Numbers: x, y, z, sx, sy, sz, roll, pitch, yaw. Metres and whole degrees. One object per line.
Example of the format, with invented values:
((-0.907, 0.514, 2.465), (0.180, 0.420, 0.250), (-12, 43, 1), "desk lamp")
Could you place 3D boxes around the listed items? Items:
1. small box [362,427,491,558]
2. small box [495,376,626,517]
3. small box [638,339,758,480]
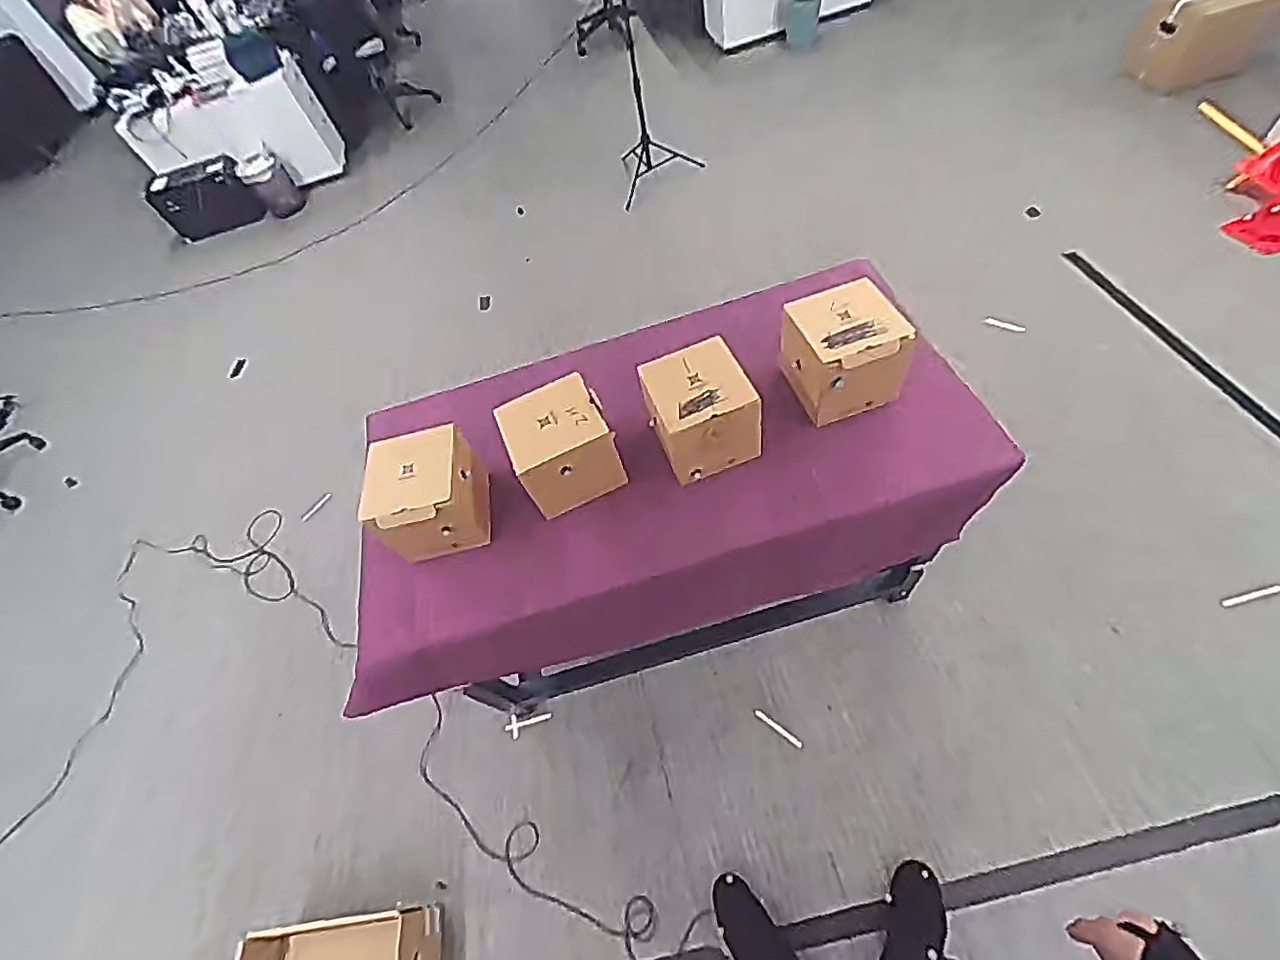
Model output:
((-0.390, 0.033, 1.018), (0.168, 0.176, 0.179), (-13, 56, 3), "small box")
((-0.144, -0.056, 1.021), (0.179, 0.176, 0.168), (-25, 57, -4), "small box")
((0.112, -0.122, 1.008), (0.168, 0.176, 0.179), (-21, 55, -2), "small box")
